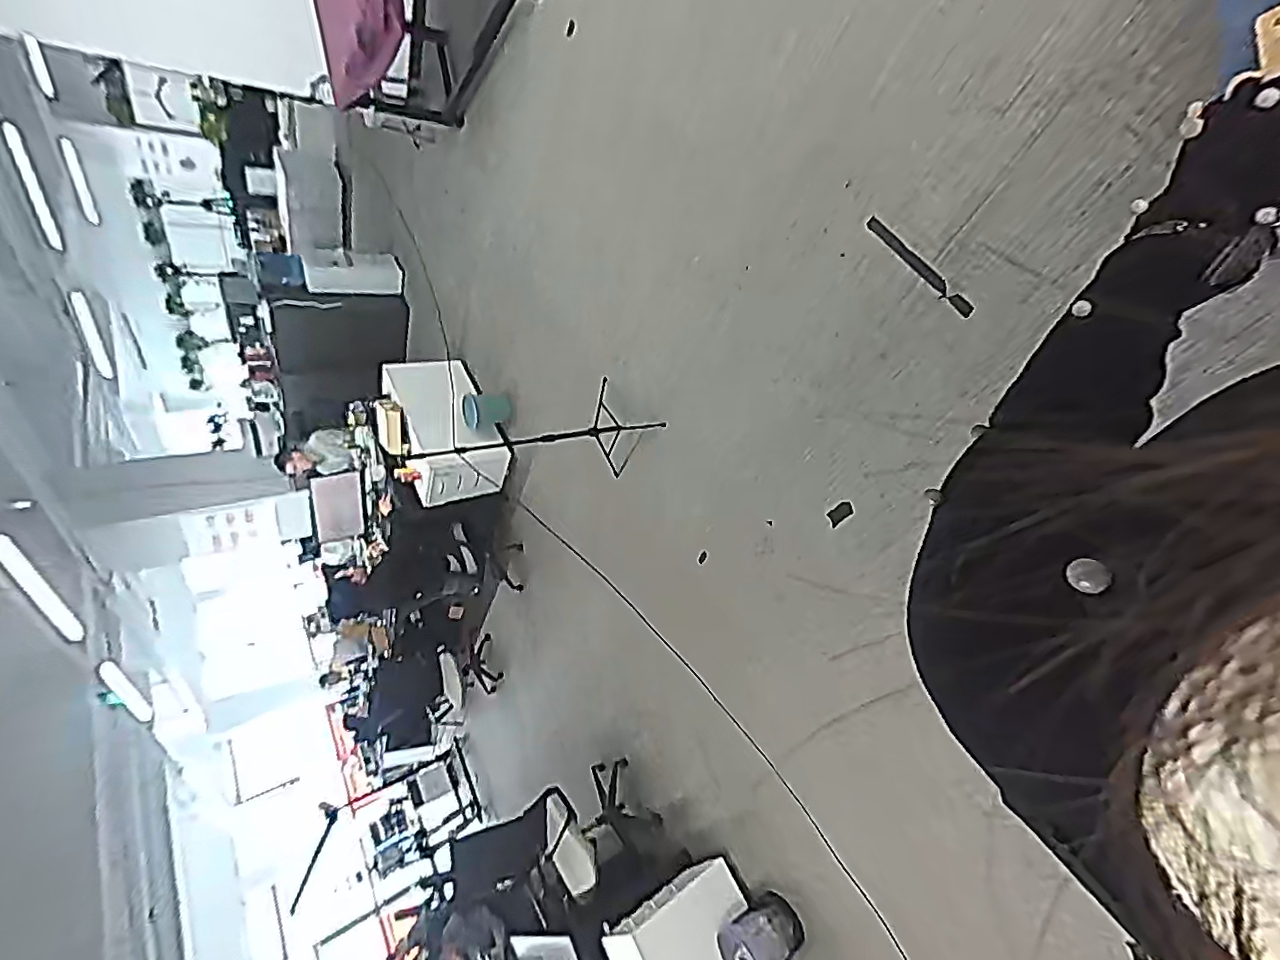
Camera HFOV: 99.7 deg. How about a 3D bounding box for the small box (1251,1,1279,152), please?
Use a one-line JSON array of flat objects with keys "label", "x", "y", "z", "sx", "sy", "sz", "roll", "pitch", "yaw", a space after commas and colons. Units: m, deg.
[{"label": "small box", "x": 0.953, "y": -0.565, "z": 0.718, "sx": 0.168, "sy": 0.176, "sz": 0.179, "roll": -6, "pitch": 96, "yaw": 53}]
